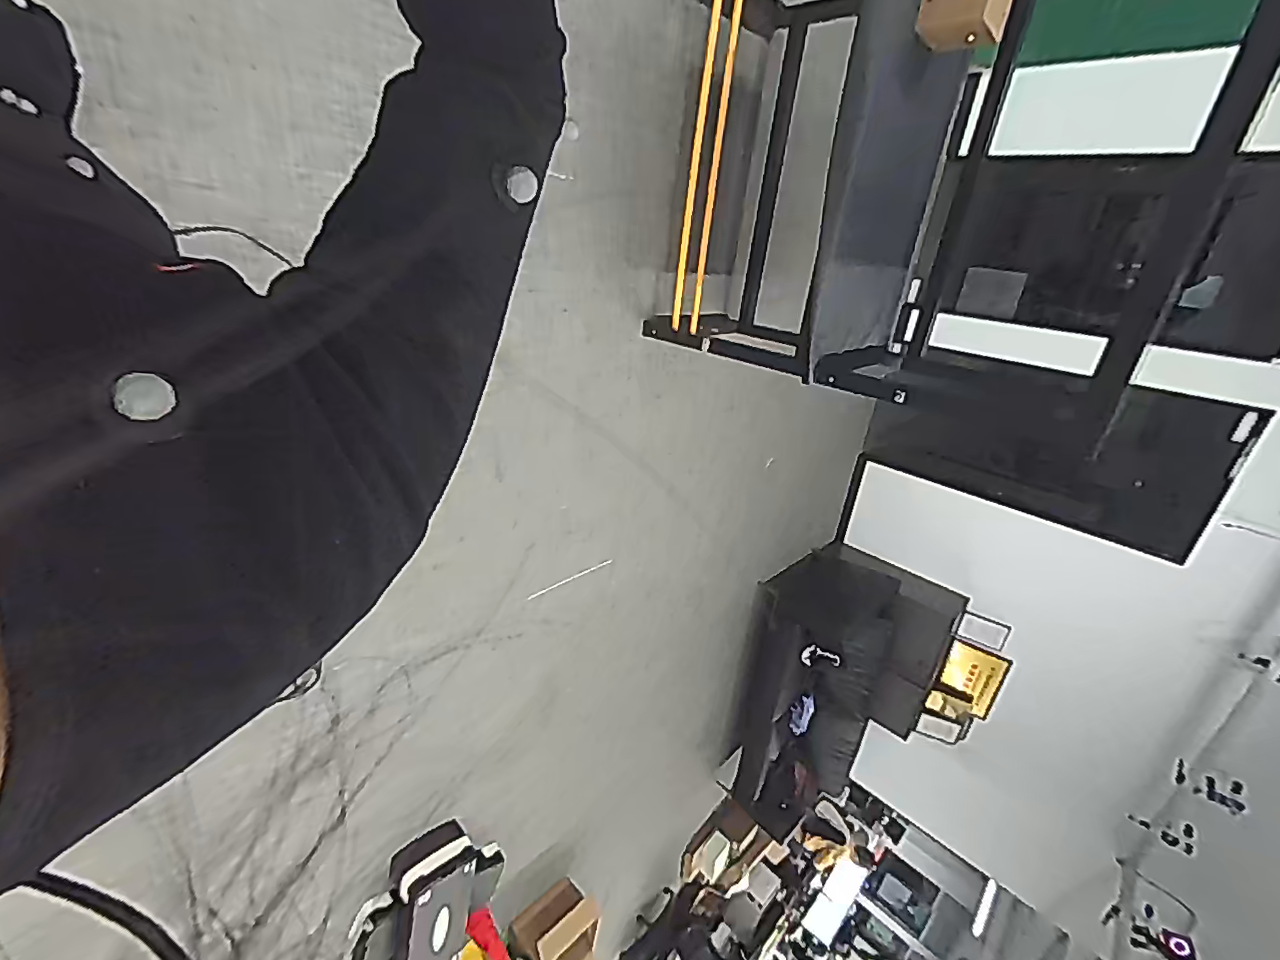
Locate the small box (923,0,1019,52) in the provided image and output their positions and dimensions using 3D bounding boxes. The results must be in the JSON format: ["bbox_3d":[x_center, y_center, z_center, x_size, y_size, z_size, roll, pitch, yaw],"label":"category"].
[{"bbox_3d":[0.853,-1.228,1.384,0.179,0.176,0.168,-15,123,-45],"label":"small box"}]
